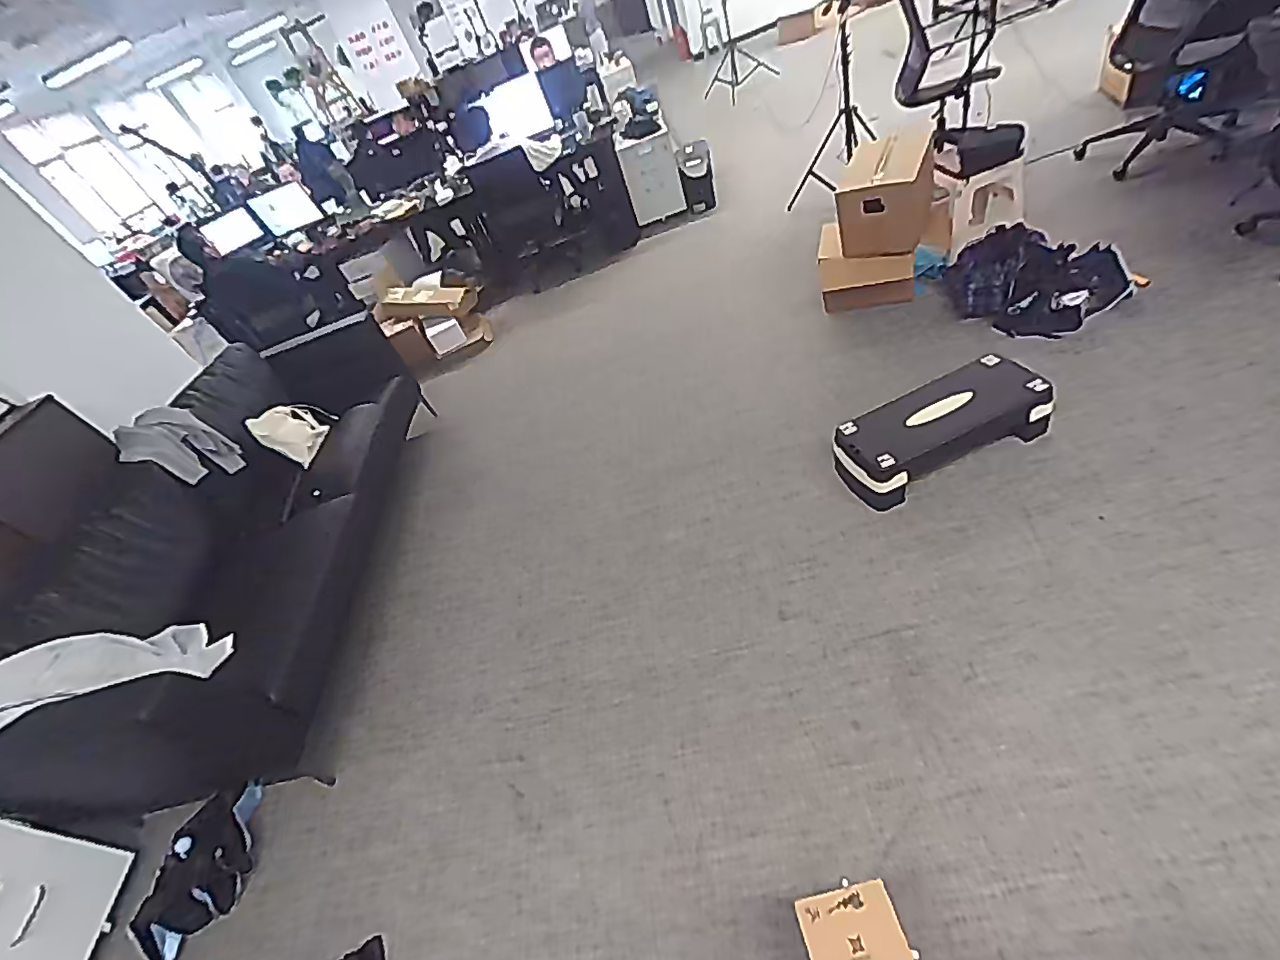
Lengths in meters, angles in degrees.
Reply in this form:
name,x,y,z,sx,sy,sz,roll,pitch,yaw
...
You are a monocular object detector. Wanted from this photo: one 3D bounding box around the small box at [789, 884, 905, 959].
name,x,y,z,sx,sy,sz,roll,pitch,yaw
small box,0.385,0.857,0.967,0.168,0.176,0.179,-20,43,6
